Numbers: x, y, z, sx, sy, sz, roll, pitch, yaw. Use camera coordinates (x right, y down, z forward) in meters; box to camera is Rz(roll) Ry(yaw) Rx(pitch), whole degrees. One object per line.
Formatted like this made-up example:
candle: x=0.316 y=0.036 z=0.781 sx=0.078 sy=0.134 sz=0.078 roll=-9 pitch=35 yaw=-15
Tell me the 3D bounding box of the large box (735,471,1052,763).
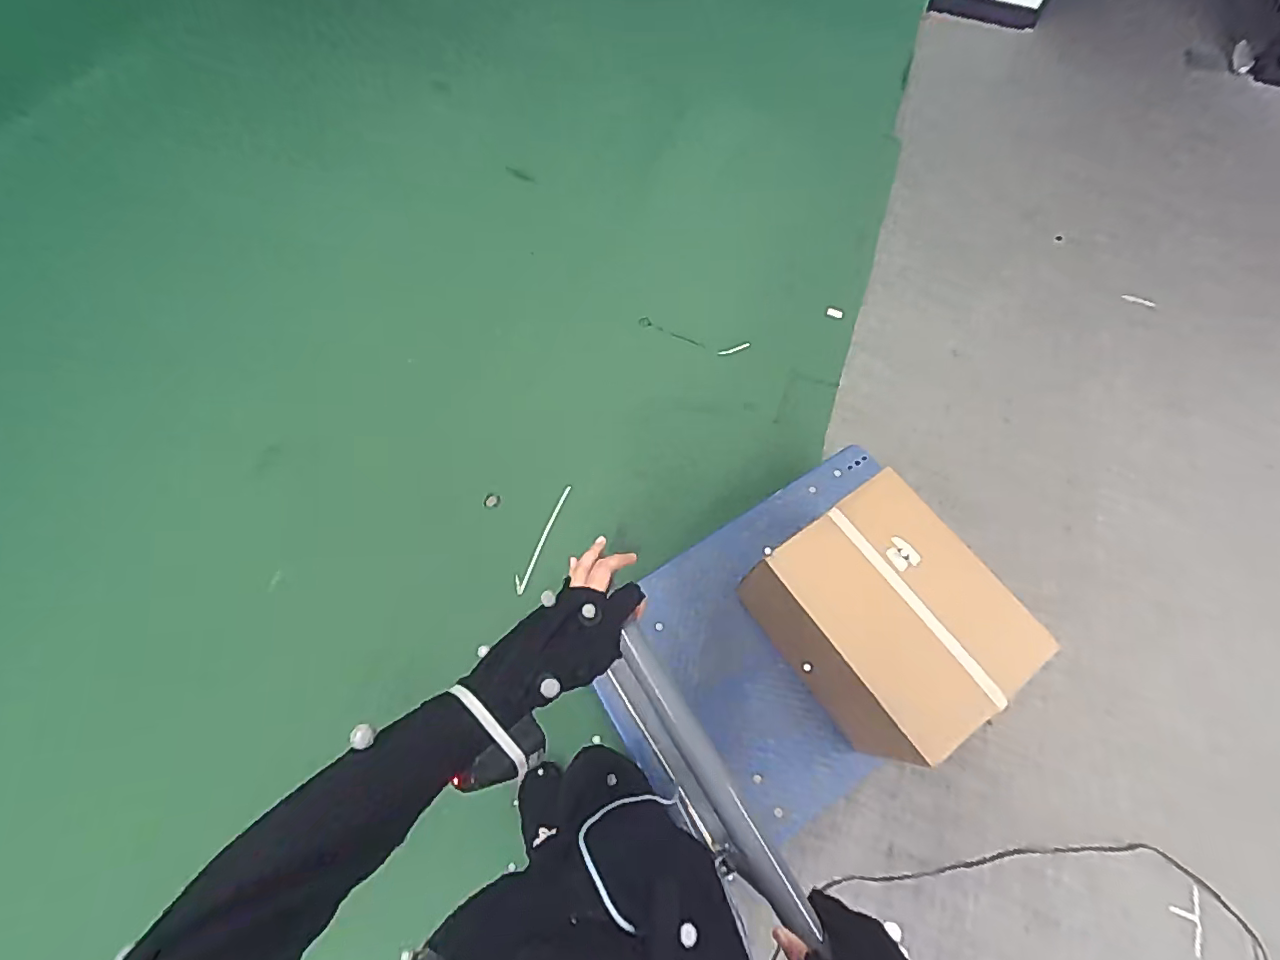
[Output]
large box: x=0.446 y=0.267 z=1.056 sx=0.320 sy=0.320 sz=0.408 roll=-32 pitch=70 yaw=-13
